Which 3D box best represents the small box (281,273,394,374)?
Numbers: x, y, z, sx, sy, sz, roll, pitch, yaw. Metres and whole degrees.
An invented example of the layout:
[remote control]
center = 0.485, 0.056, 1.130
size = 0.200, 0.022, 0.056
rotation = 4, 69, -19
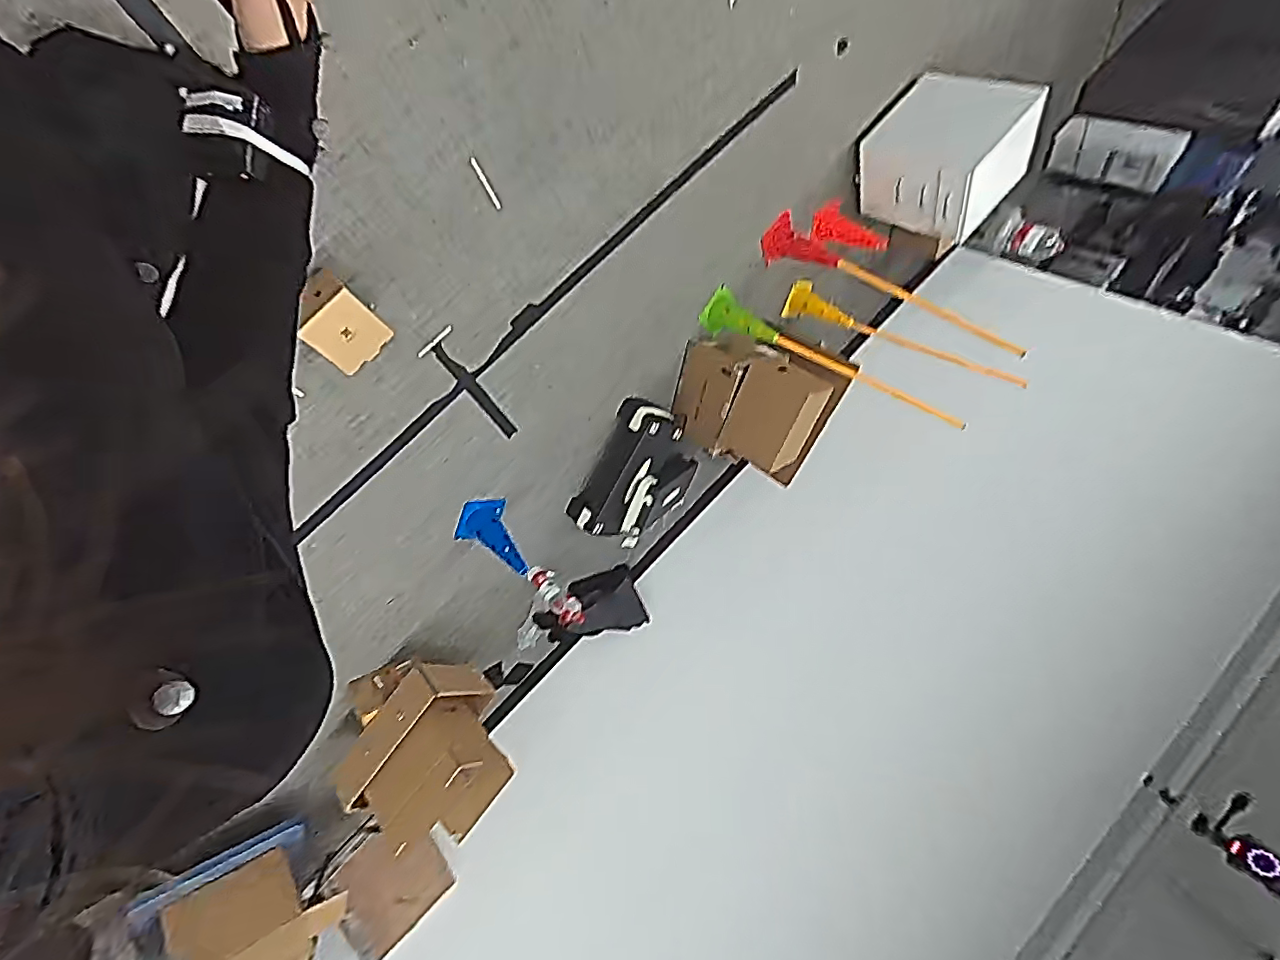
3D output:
[small box]
center = -0.798, -0.419, 1.422
size = 0.168, 0.176, 0.179
rotation = -47, 147, -5
